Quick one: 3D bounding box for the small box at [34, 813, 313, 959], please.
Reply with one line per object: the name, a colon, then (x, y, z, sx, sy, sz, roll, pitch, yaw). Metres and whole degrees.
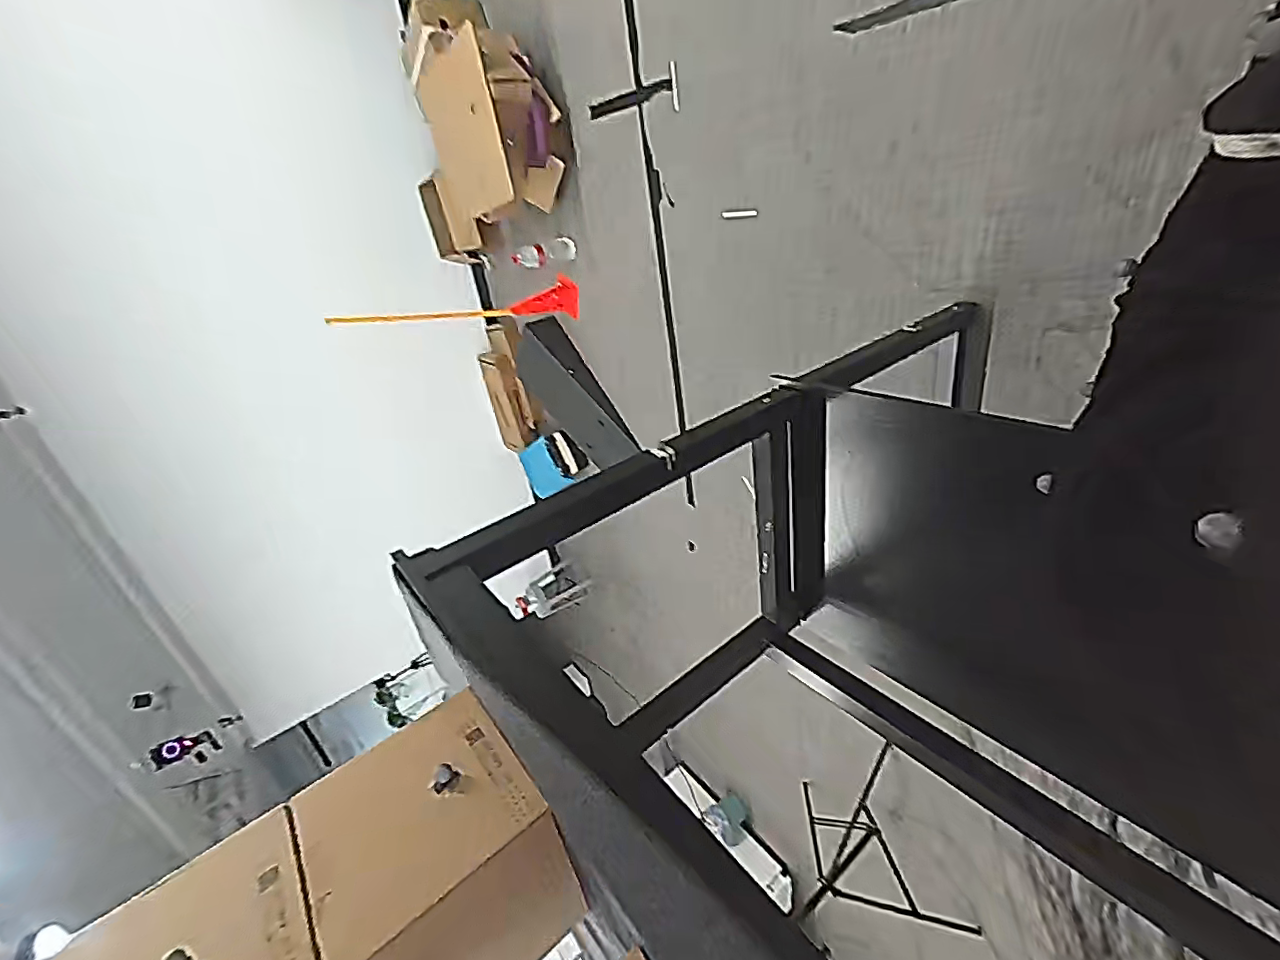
small box: (-0.303, 0.401, 0.401, 0.168, 0.176, 0.179, 28, 136, 46)

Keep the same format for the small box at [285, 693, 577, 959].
small box: (-0.174, 0.335, 0.479, 0.168, 0.176, 0.179, 26, 135, 46)
